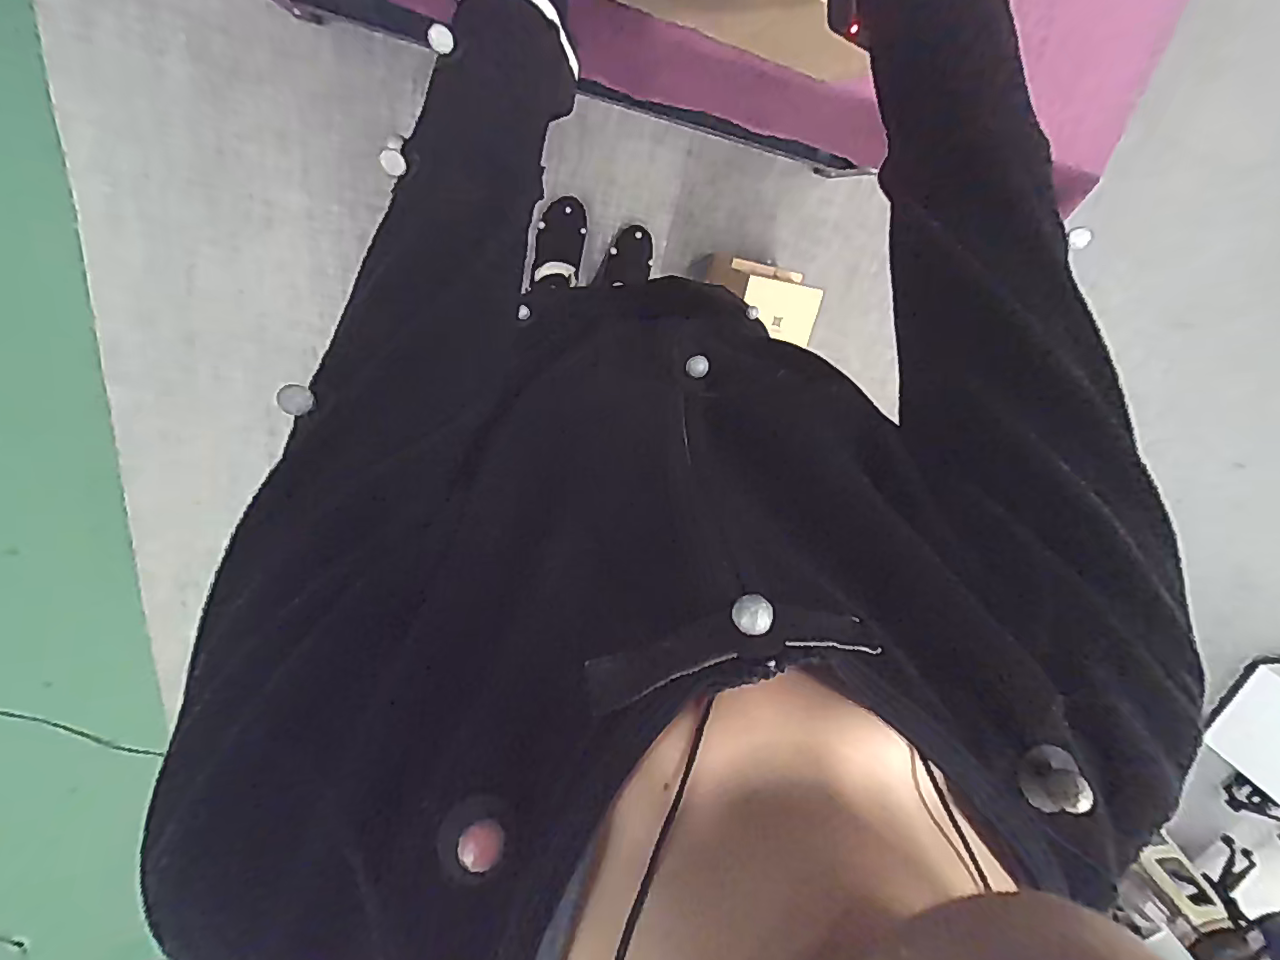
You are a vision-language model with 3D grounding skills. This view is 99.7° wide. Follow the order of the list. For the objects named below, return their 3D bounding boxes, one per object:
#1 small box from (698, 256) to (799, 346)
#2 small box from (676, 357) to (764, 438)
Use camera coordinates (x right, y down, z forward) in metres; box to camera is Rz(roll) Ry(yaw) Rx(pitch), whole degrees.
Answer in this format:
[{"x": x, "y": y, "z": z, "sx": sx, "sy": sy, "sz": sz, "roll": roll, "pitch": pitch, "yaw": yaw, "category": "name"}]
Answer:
[{"x": 0.259, "y": -0.447, "z": 1.335, "sx": 0.179, "sy": 0.176, "sz": 0.168, "roll": 8, "pitch": 115, "yaw": -12, "category": "small box"}, {"x": 0.202, "y": -0.225, "z": 1.441, "sx": 0.179, "sy": 0.176, "sz": 0.168, "roll": 4, "pitch": 116, "yaw": -11, "category": "small box"}]
